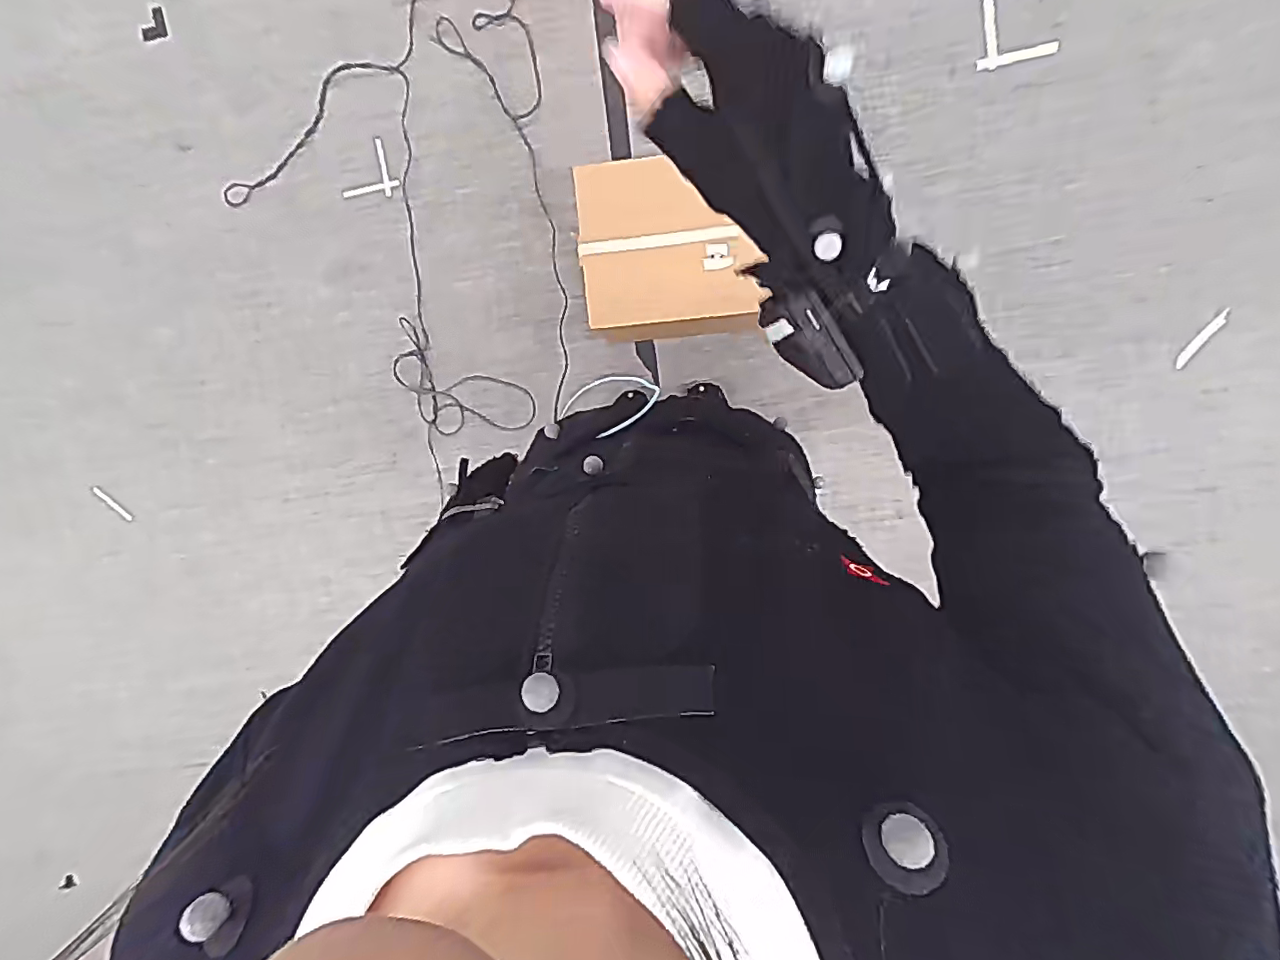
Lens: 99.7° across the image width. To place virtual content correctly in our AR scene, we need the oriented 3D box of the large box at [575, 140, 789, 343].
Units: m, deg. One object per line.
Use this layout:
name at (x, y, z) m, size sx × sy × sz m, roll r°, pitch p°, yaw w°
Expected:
large box at (0.091, -0.501, 1.215) m, size 0.408 × 0.320 × 0.320 m, roll -5°, pitch 99°, yaw 4°
